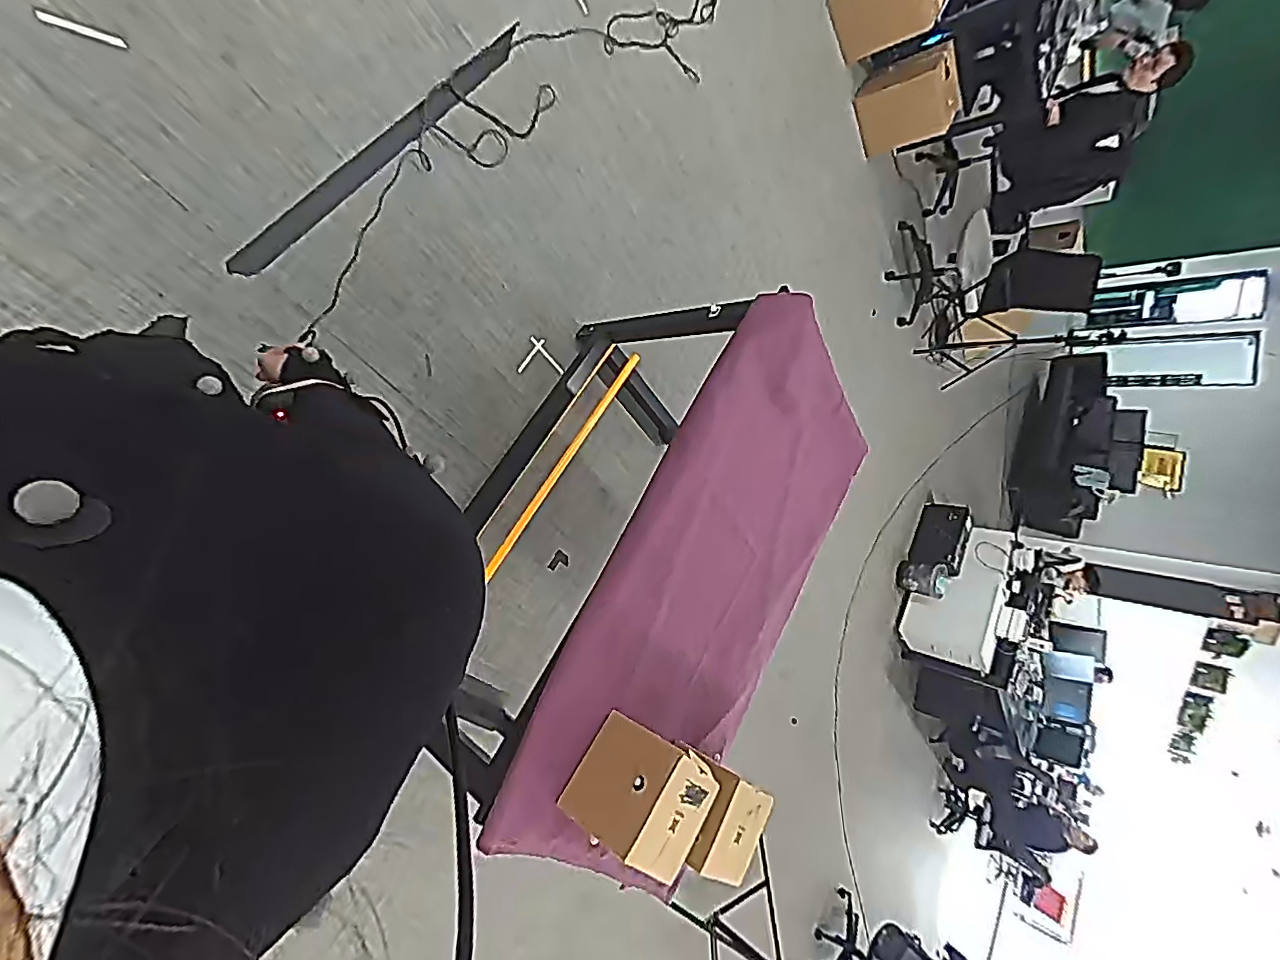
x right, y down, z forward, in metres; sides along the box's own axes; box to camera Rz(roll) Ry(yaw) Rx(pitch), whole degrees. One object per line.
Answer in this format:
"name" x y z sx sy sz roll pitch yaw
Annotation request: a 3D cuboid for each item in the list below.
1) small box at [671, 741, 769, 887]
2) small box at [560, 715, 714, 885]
"small box" 0.125 0.665 1.086 0.168 0.176 0.179 49 63 -38
"small box" -0.005 0.541 0.932 0.179 0.176 0.168 -54 131 -25
